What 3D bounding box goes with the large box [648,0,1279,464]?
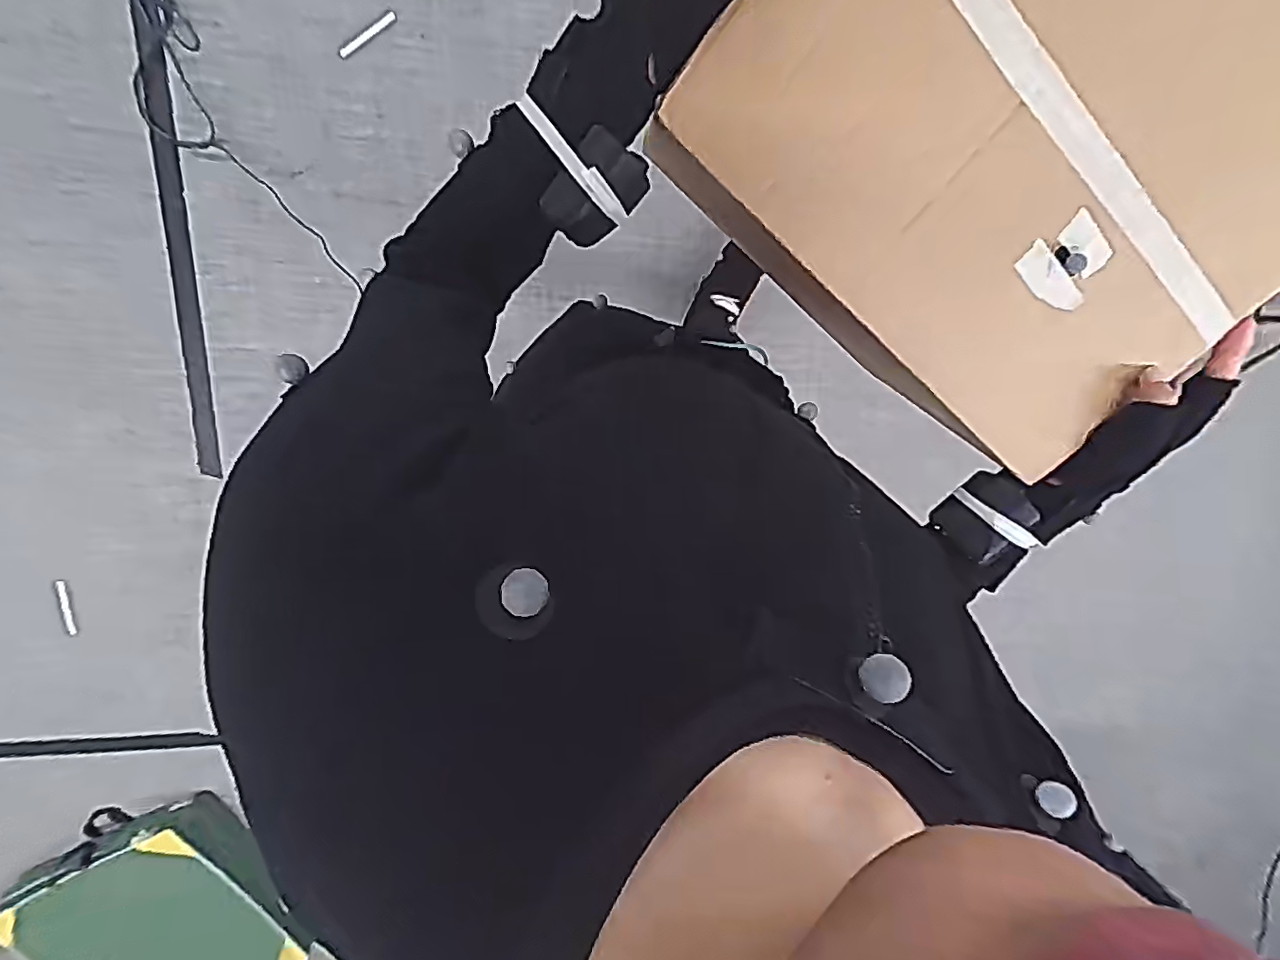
[{"bbox_3d":[0.258,-0.293,0.479,0.408,0.320,0.320,36,112,-19],"label":"large box"}]
